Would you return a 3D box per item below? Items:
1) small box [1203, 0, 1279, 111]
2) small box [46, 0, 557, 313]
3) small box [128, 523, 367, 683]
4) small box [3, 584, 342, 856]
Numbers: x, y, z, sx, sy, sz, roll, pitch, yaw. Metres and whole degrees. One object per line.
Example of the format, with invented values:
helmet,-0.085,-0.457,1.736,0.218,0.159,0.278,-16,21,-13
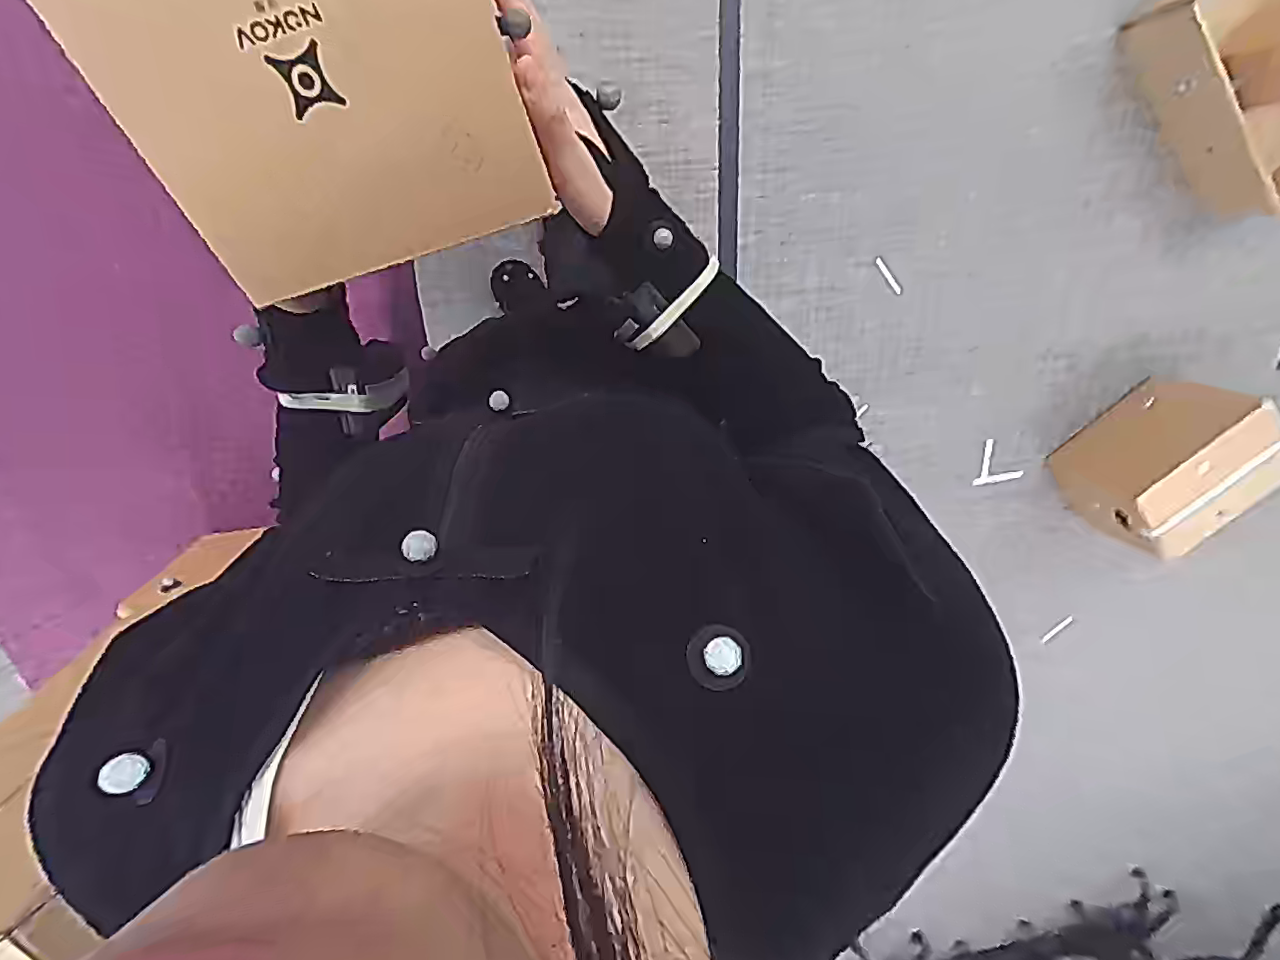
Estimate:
small box,1.488,-1.006,1.251,0.168,0.176,0.179,37,103,-21
small box,-0.150,-0.222,0.294,0.168,0.176,0.179,-17,128,1
small box,-0.475,0.170,0.697,0.179,0.176,0.168,-8,114,-5
small box,-0.432,0.228,0.548,0.179,0.176,0.168,-12,114,-4
